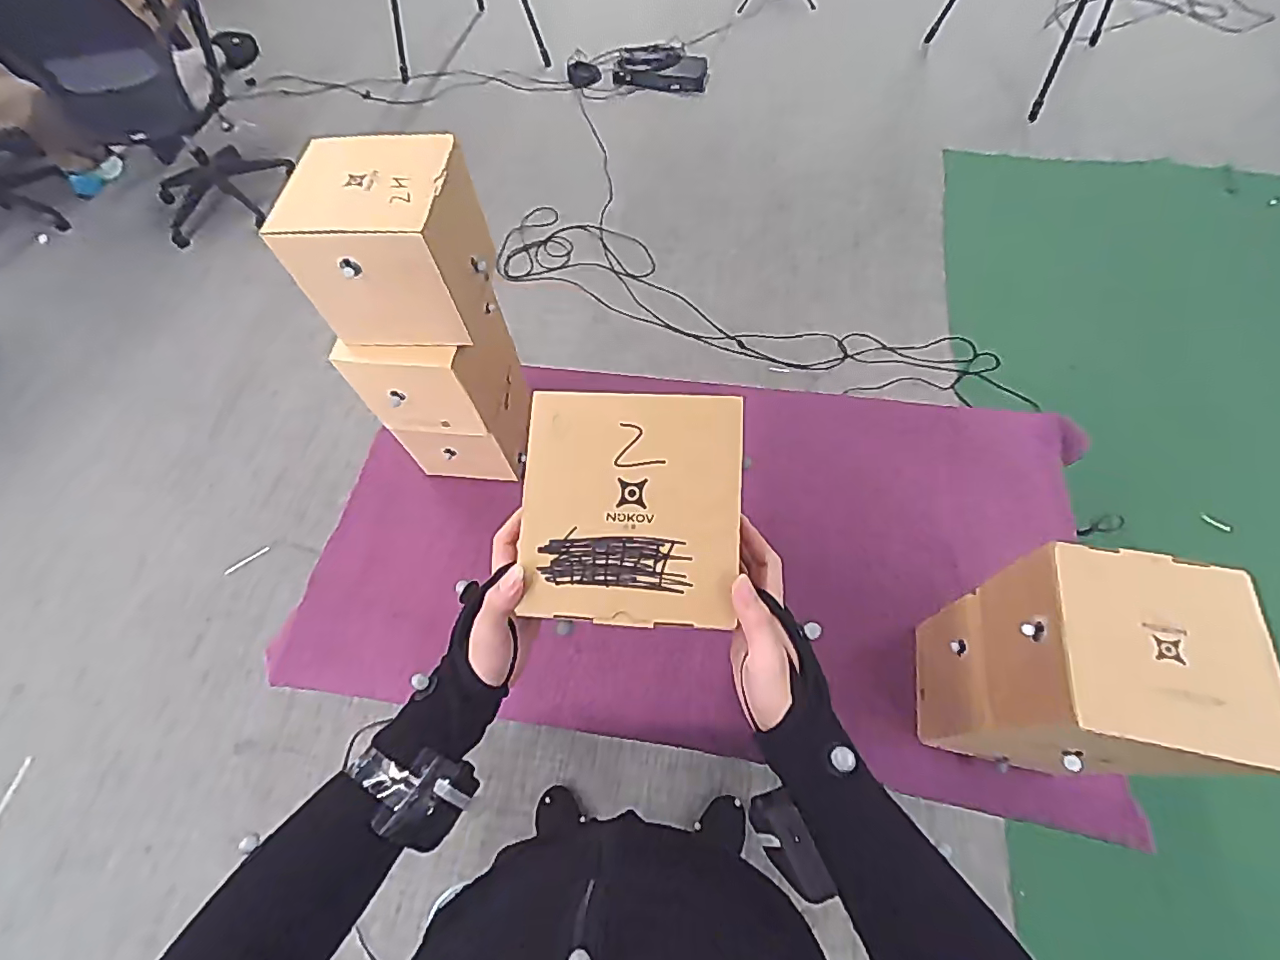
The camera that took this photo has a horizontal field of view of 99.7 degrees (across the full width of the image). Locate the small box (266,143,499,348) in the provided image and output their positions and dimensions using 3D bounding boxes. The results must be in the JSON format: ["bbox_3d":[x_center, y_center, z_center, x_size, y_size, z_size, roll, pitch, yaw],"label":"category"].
[{"bbox_3d":[-0.292,-0.278,0.658,0.179,0.176,0.168,2,62,4],"label":"small box"}]

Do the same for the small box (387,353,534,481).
[{"bbox_3d":[-0.296,-0.108,0.938,0.179,0.176,0.168,4,62,6],"label":"small box"}]

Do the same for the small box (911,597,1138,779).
[{"bbox_3d":[0.473,0.269,0.694,0.179,0.176,0.168,11,62,9],"label":"small box"}]

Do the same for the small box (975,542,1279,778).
[{"bbox_3d":[0.467,0.188,0.552,0.168,0.176,0.179,10,62,10],"label":"small box"}]

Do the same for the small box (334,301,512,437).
[{"bbox_3d":[-0.299,-0.179,0.792,0.168,0.176,0.179,5,62,5],"label":"small box"}]
